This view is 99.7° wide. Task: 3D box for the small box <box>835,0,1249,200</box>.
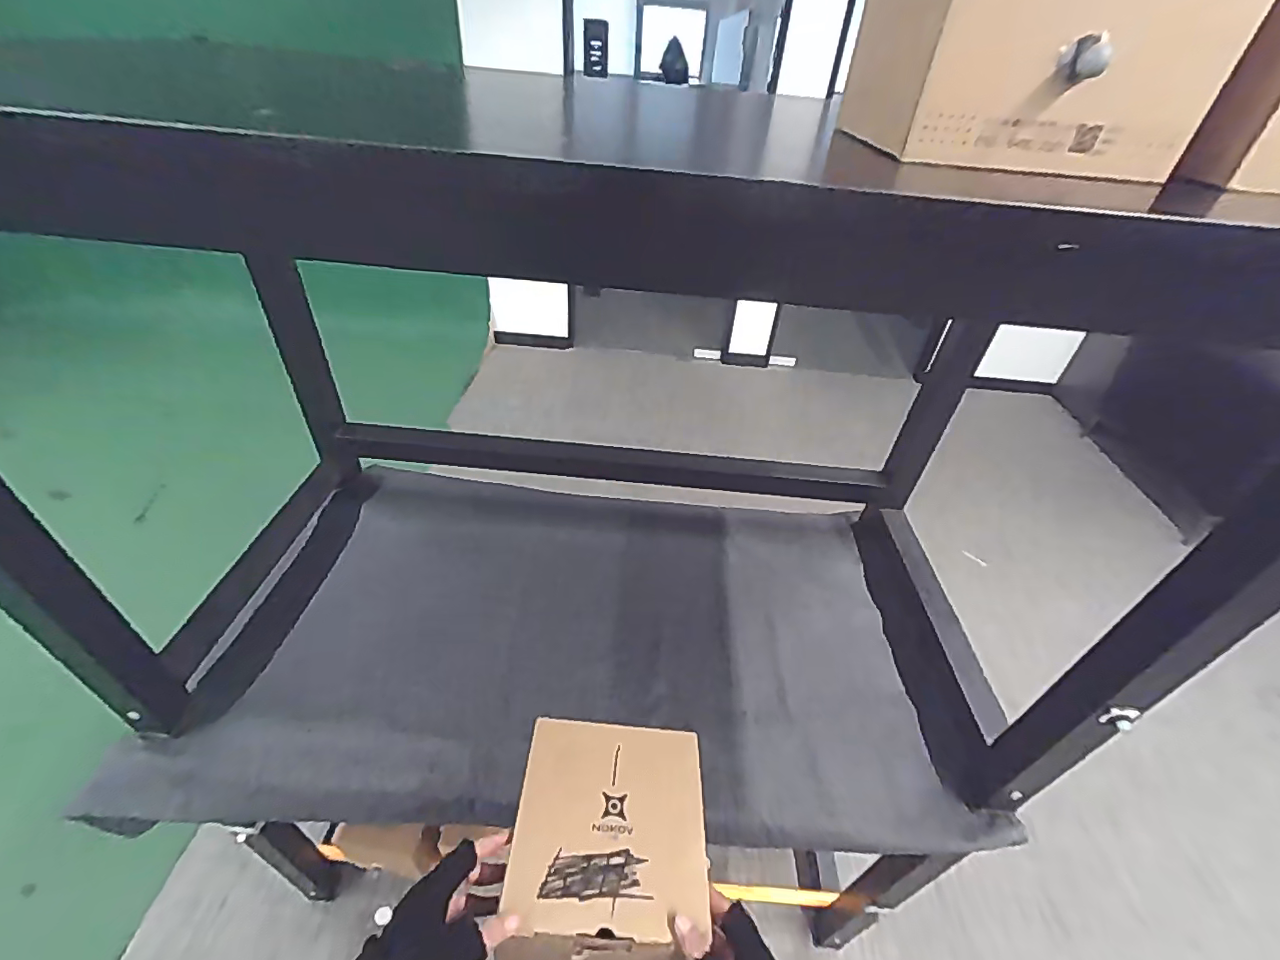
[{"bbox_3d":[0.248,-0.303,0.362,0.168,0.176,0.179,5,39,0],"label":"small box"}]
